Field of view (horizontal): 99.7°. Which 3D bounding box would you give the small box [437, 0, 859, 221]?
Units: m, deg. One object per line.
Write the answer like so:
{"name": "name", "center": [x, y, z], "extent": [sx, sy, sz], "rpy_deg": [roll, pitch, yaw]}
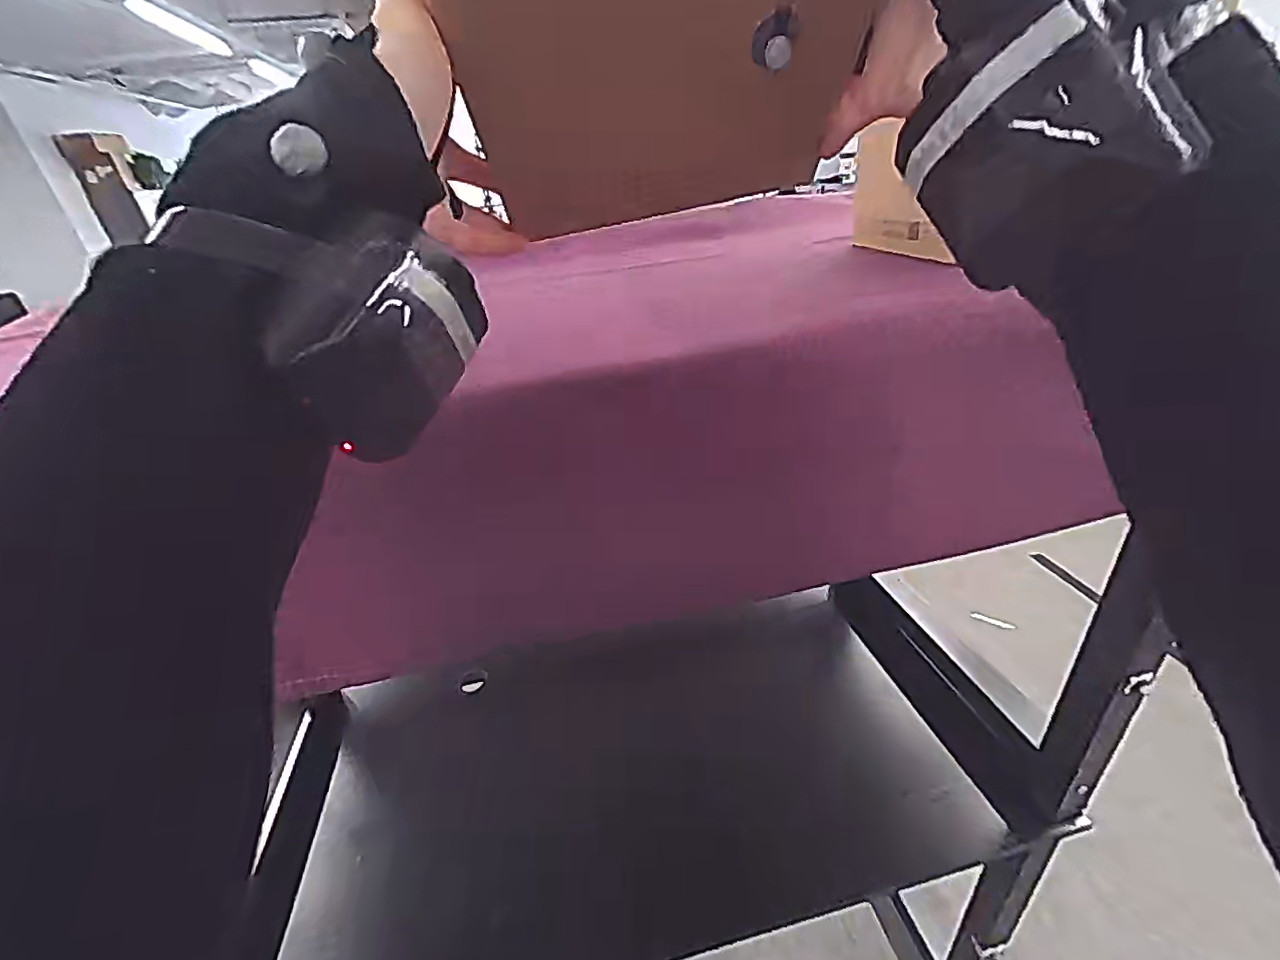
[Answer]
{"name": "small box", "center": [-0.004, -0.256, 0.249], "extent": [0.179, 0.176, 0.168], "rpy_deg": [-13, 74, -1]}

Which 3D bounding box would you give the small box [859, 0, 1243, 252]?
{"name": "small box", "center": [0.300, -0.292, 0.435], "extent": [0.179, 0.176, 0.168], "rpy_deg": [-11, 29, -5]}
